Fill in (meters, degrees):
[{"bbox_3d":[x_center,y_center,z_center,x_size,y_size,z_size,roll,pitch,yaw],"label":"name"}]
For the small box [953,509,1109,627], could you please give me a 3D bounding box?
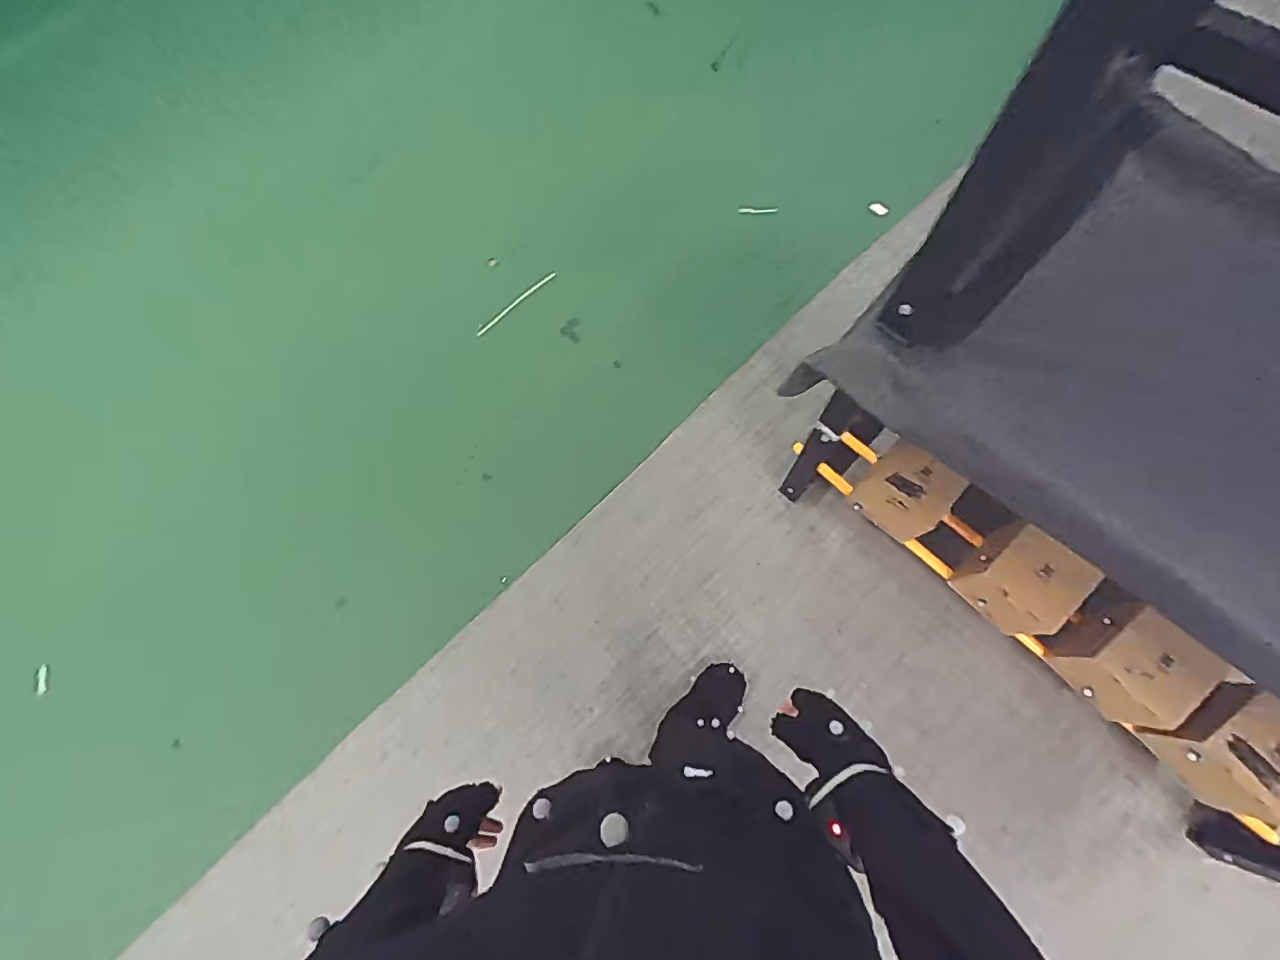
[{"bbox_3d":[0.811,0.191,1.145,0.179,0.176,0.168,-44,75,-7],"label":"small box"}]
